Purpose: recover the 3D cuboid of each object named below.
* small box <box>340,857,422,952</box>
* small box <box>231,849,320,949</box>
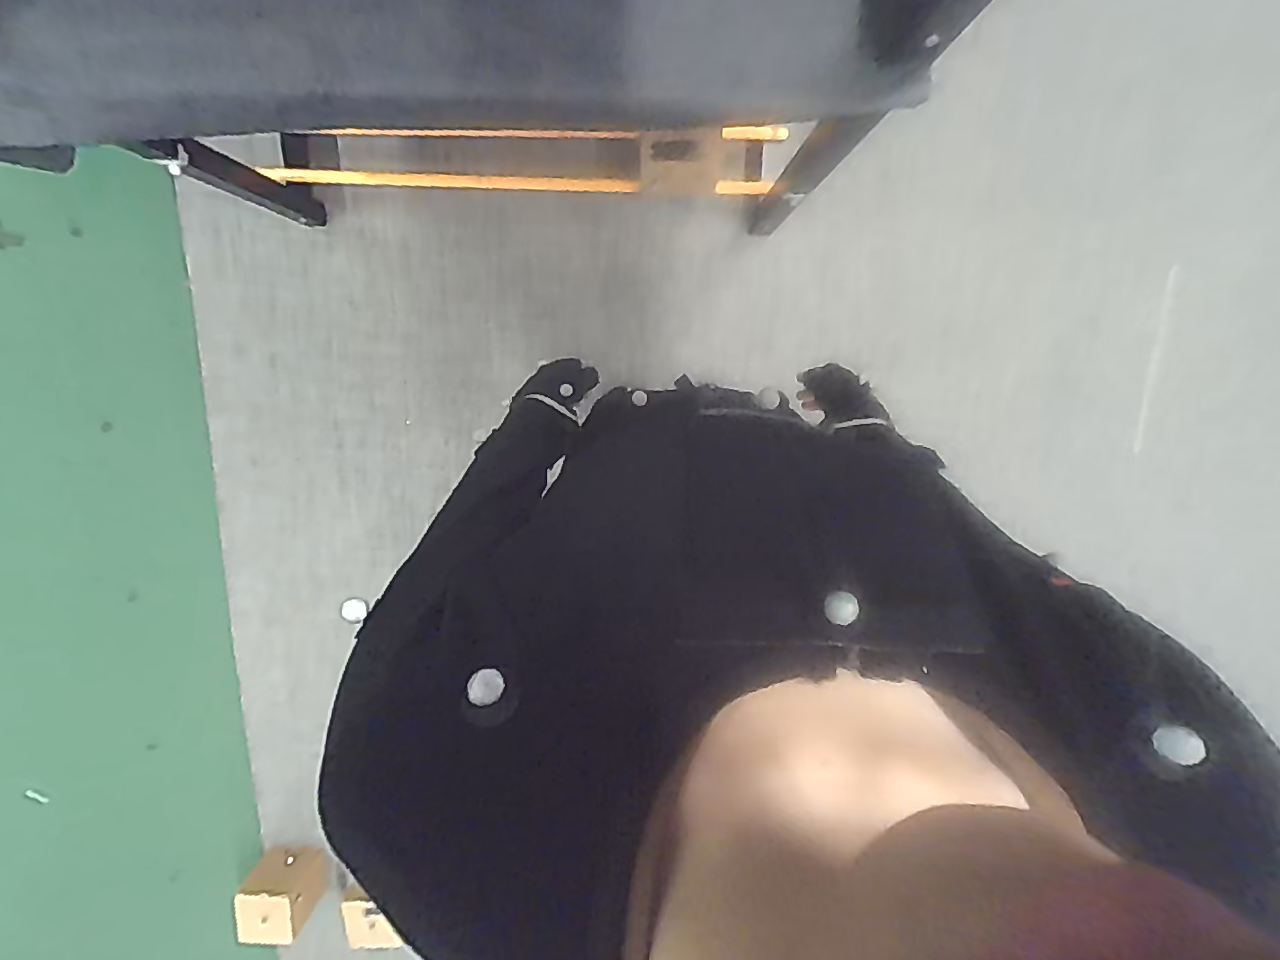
[{"bbox_3d":[-0.789,1.297,1.663,0.168,0.176,0.179,-2,102,1],"label":"small box"},{"bbox_3d":[-1.113,1.285,1.664,0.168,0.176,0.179,3,100,-1],"label":"small box"}]
